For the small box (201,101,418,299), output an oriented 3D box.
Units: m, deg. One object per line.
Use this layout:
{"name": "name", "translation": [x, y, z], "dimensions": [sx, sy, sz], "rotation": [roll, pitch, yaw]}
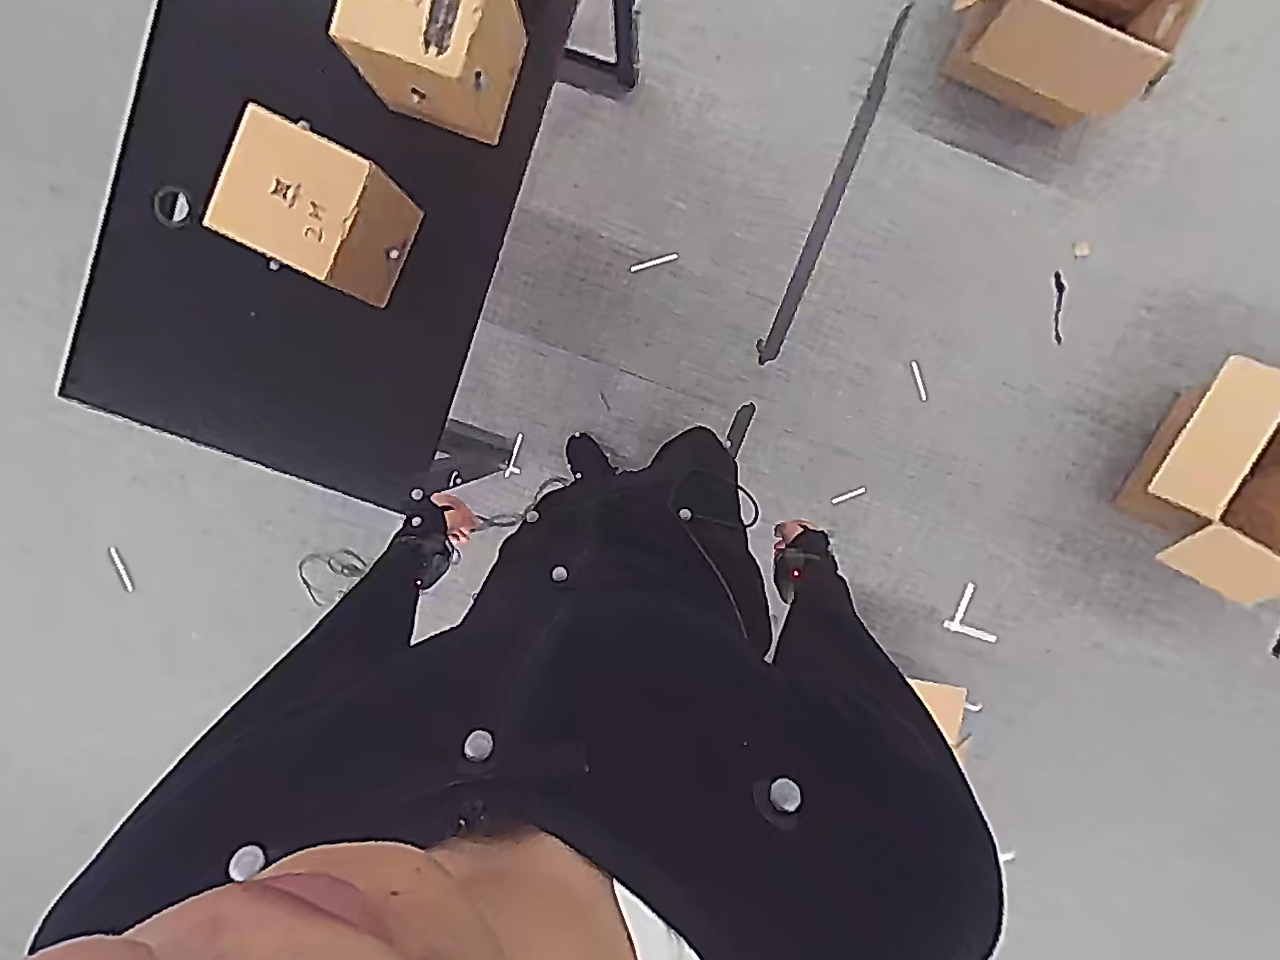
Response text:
{"name": "small box", "translation": [-0.455, -0.380, 0.772], "dimensions": [0.179, 0.176, 0.168], "rotation": [25, 96, -3]}
